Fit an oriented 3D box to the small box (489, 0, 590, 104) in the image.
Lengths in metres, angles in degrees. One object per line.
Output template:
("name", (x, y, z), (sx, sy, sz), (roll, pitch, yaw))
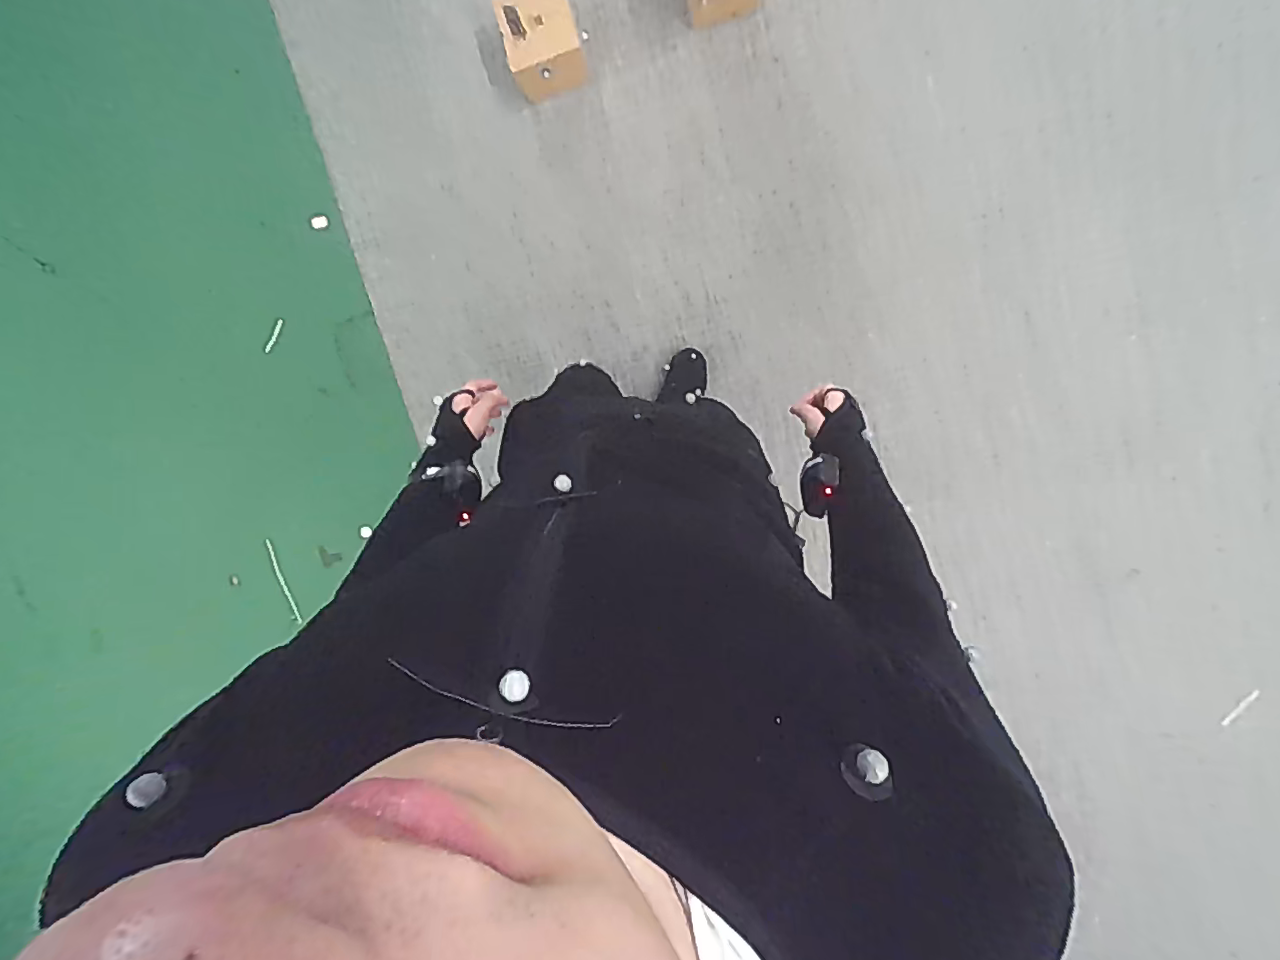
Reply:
("small box", (-0.238, -1.065, 1.324), (0.179, 0.176, 0.168), (-14, 101, 8))
